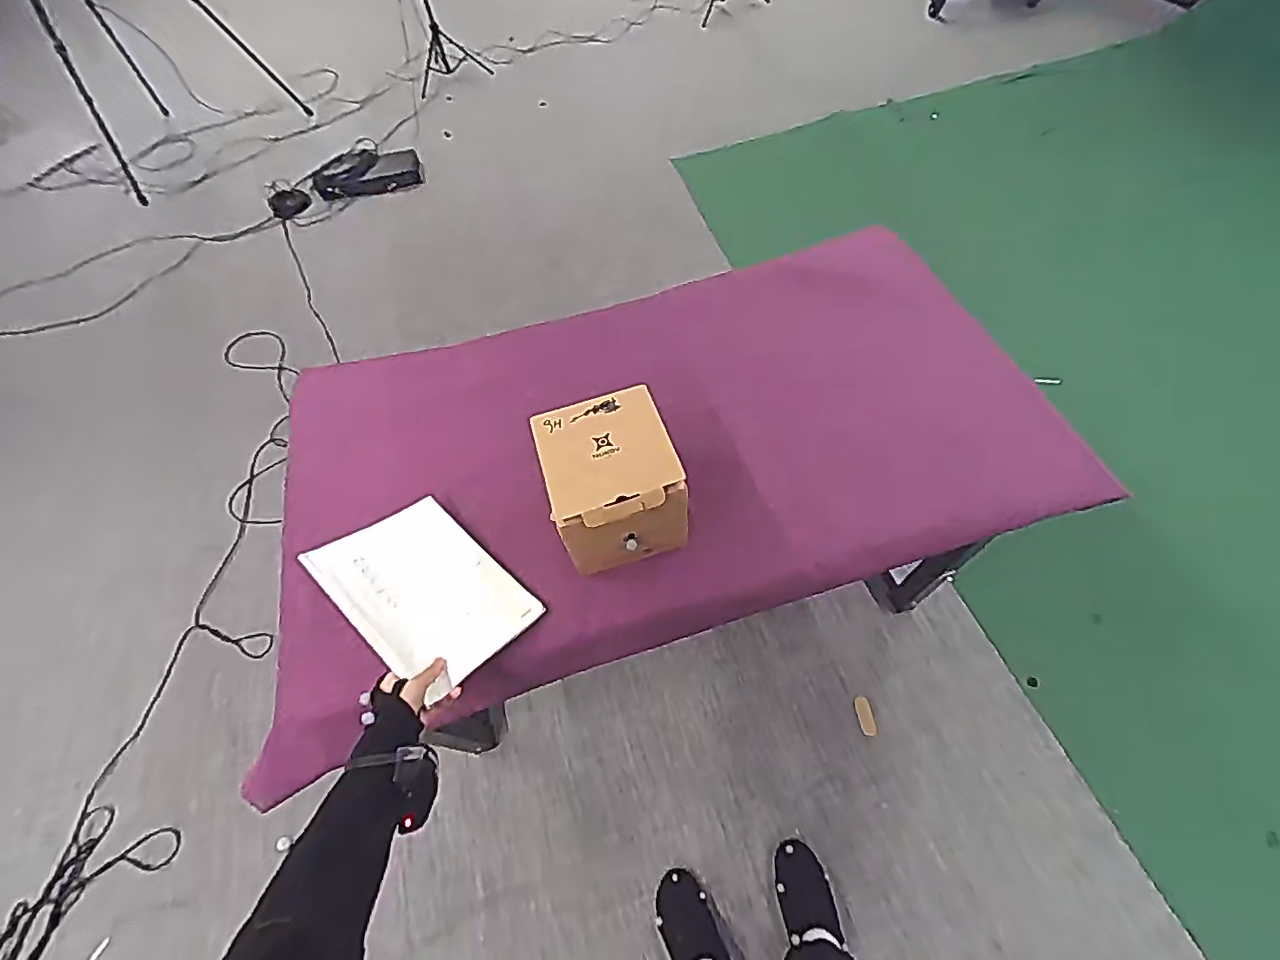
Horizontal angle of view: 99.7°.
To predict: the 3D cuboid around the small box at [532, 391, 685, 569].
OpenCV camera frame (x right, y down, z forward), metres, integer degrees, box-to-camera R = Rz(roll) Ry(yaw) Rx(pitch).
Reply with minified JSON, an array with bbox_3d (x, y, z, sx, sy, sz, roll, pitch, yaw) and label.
[{"bbox_3d":[-0.038,0.011,0.762,0.168,0.176,0.179,-17,59,-5],"label":"small box"}]
